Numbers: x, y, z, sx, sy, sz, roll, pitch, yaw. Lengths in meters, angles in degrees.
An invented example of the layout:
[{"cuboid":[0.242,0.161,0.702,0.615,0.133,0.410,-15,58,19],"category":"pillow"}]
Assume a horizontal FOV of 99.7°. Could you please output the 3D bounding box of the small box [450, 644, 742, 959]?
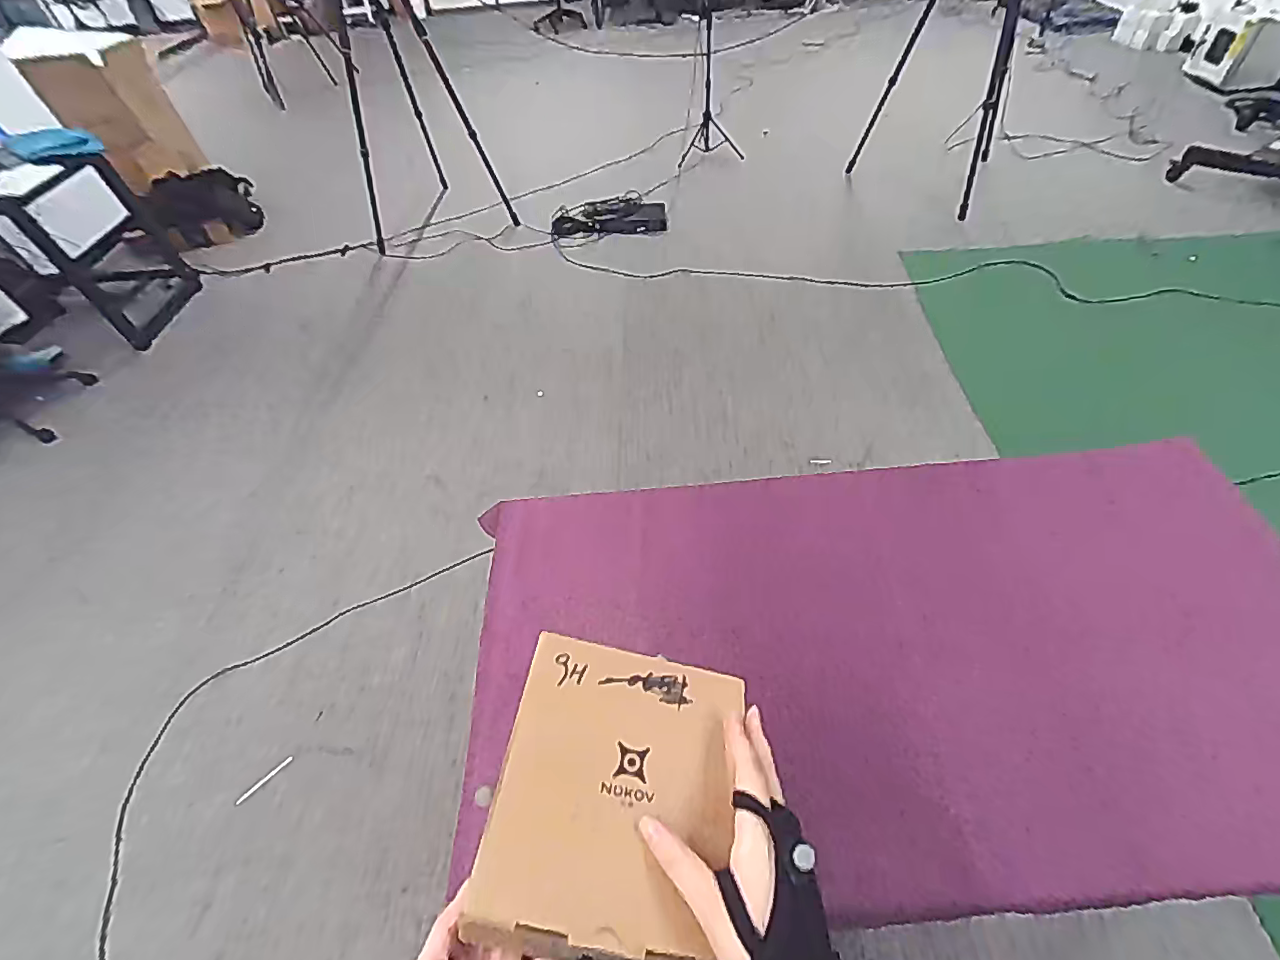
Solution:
[{"cuboid":[-0.031,0.259,0.414,0.168,0.176,0.179,16,46,-4],"category":"small box"}]
